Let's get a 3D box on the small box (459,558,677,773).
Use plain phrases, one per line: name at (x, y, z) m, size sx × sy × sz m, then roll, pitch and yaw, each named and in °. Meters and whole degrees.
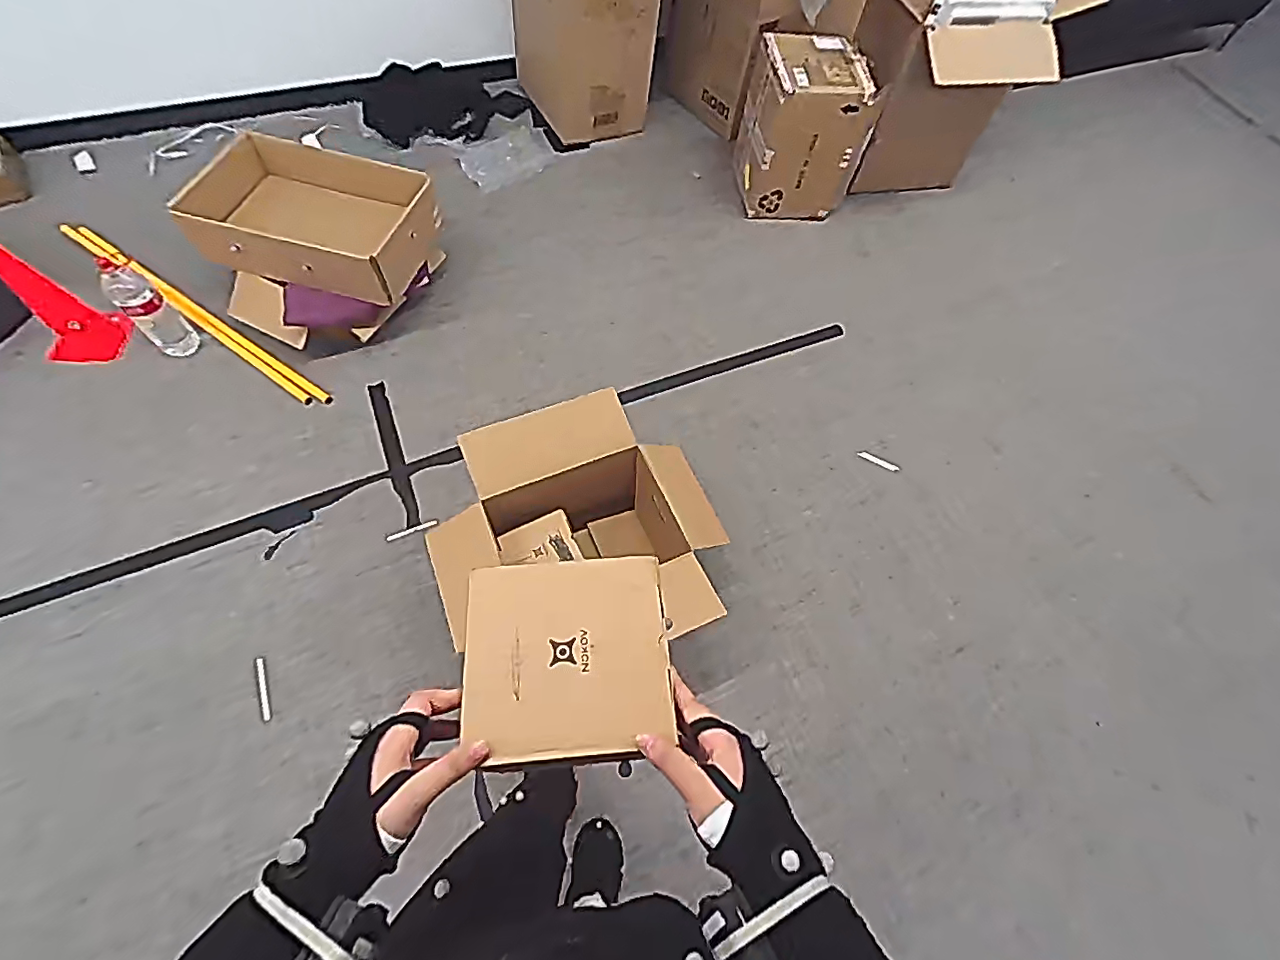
small box at (-0.066, 0.189, 0.537) m, size 0.179 × 0.176 × 0.168 m, roll -5°, pitch 60°, yaw -4°
